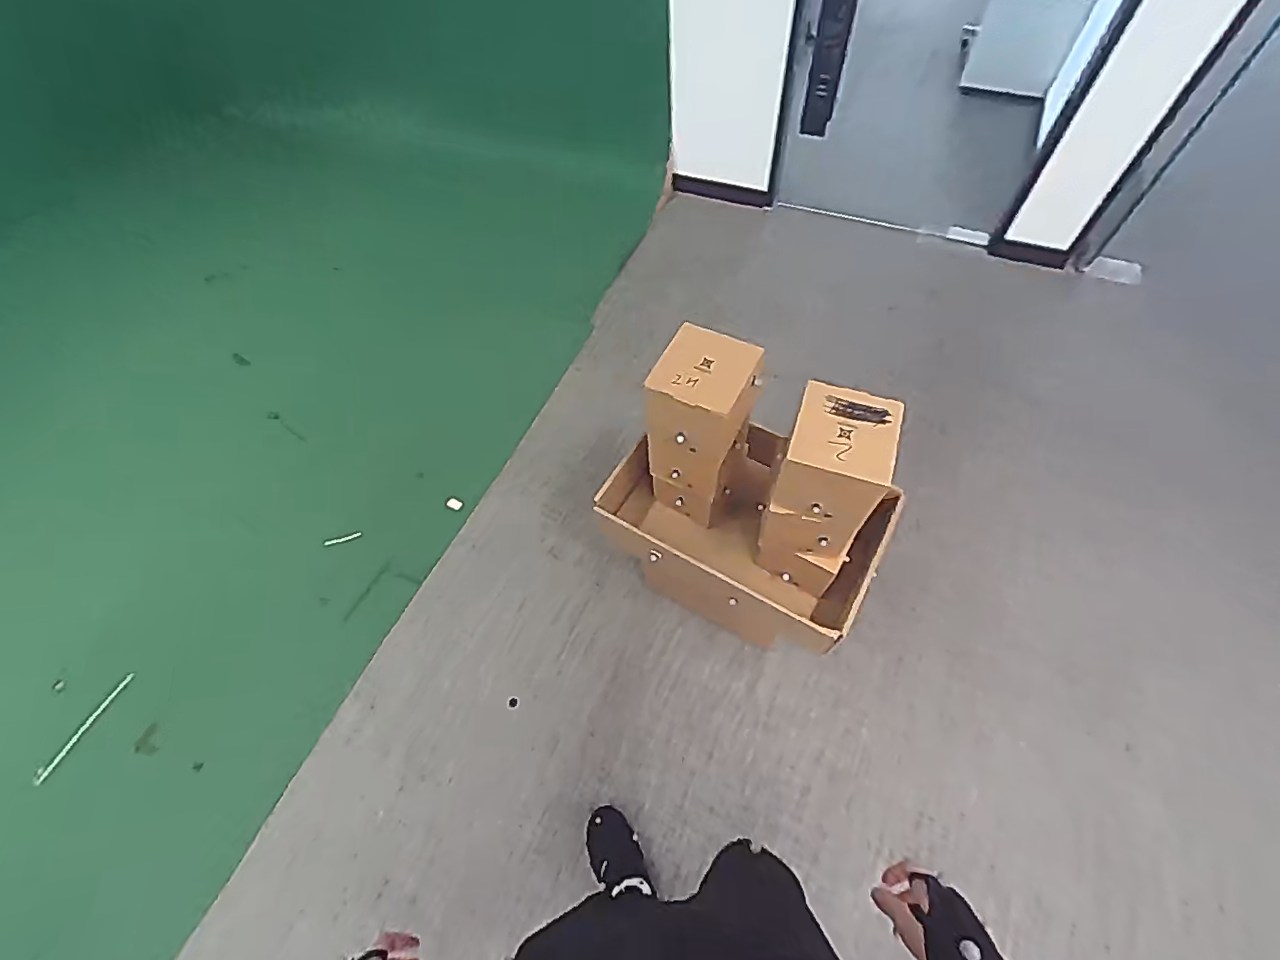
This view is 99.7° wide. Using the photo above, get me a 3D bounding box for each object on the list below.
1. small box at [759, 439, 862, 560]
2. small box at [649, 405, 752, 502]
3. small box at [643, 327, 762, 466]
[{"bbox_3d":[0.343,0.045,1.107,0.168,0.176,0.179,10,60,10],"label":"small box"},{"bbox_3d":[0.131,-0.084,1.202,0.168,0.176,0.179,24,65,17],"label":"small box"},{"bbox_3d":[0.119,-0.160,1.056,0.168,0.176,0.179,24,64,17],"label":"small box"}]
